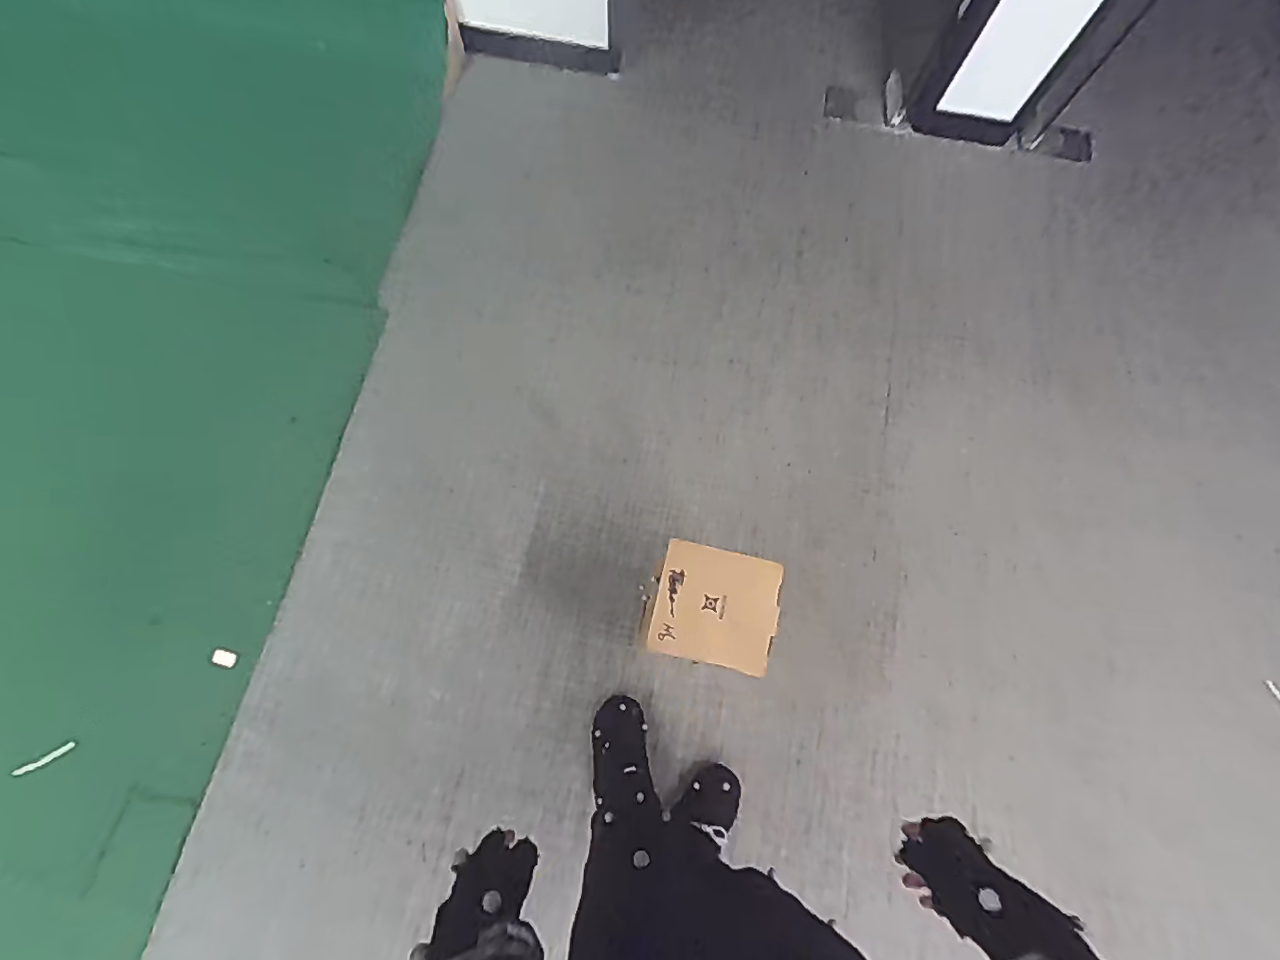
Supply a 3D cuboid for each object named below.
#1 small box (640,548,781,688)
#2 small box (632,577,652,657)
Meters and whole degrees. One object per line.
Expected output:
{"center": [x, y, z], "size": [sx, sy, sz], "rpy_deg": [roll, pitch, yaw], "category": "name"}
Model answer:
{"center": [0.104, 0.219, 0.860], "size": [0.179, 0.176, 0.168], "rpy_deg": [14, 73, 3], "category": "small box"}
{"center": [0.082, 0.321, 1.186], "size": [0.179, 0.176, 0.168], "rpy_deg": [13, 74, 1], "category": "small box"}
